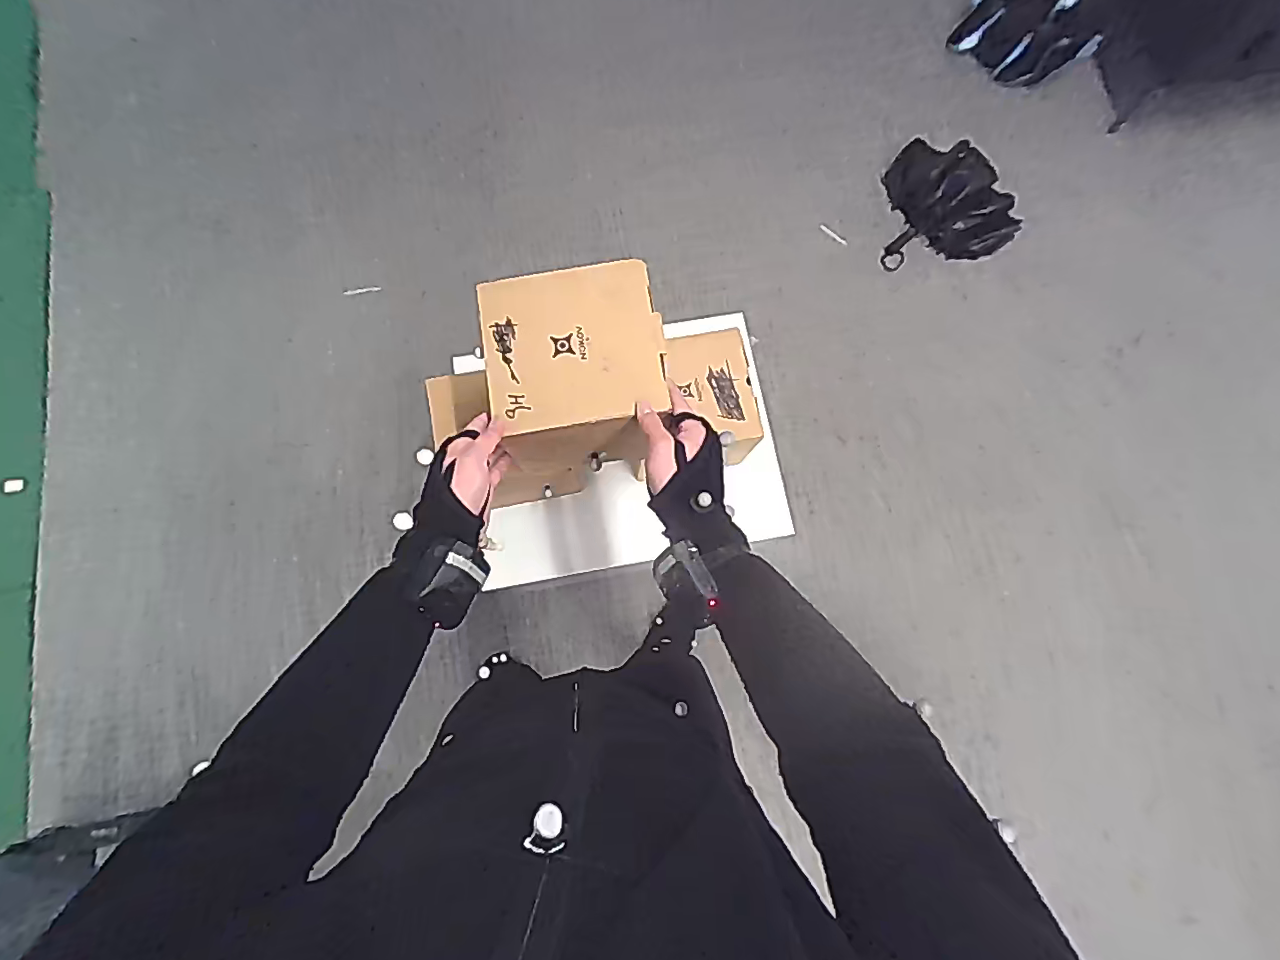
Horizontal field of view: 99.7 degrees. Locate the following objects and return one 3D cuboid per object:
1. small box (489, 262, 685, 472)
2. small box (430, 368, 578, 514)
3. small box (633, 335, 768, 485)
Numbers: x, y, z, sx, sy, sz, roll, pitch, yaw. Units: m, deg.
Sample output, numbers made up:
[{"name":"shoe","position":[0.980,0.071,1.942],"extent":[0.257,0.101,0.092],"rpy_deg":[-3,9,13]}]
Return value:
[{"name":"small box","position":[-0.057,-0.115,0.606],"extent":[0.179,0.176,0.168],"rpy_deg":[-9,77,-4]},{"name":"small box","position":[-0.189,-0.054,0.795],"extent":[0.179,0.176,0.168],"rpy_deg":[-11,77,-5]},{"name":"small box","position":[0.073,-0.097,0.817],"extent":[0.179,0.176,0.168],"rpy_deg":[-9,78,-4]}]
